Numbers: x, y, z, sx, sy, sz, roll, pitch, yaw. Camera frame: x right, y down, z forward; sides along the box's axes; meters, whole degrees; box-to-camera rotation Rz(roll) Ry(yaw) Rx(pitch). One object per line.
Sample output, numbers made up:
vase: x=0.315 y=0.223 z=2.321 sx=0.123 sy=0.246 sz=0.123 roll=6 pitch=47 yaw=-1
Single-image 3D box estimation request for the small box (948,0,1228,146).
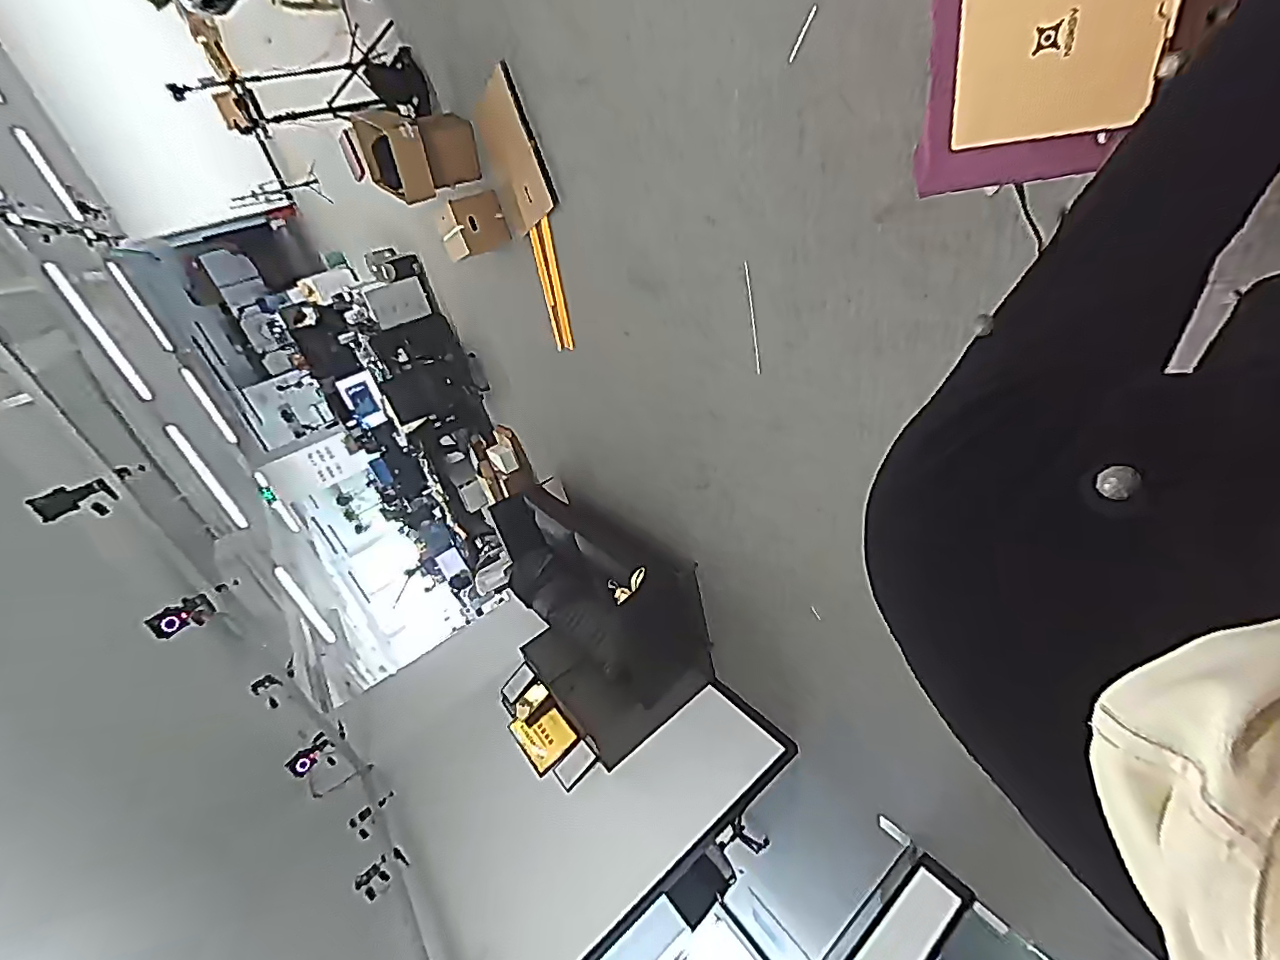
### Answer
small box: x=0.447 y=-0.451 z=0.542 sx=0.179 sy=0.176 sz=0.168 roll=27 pitch=138 yaw=48
